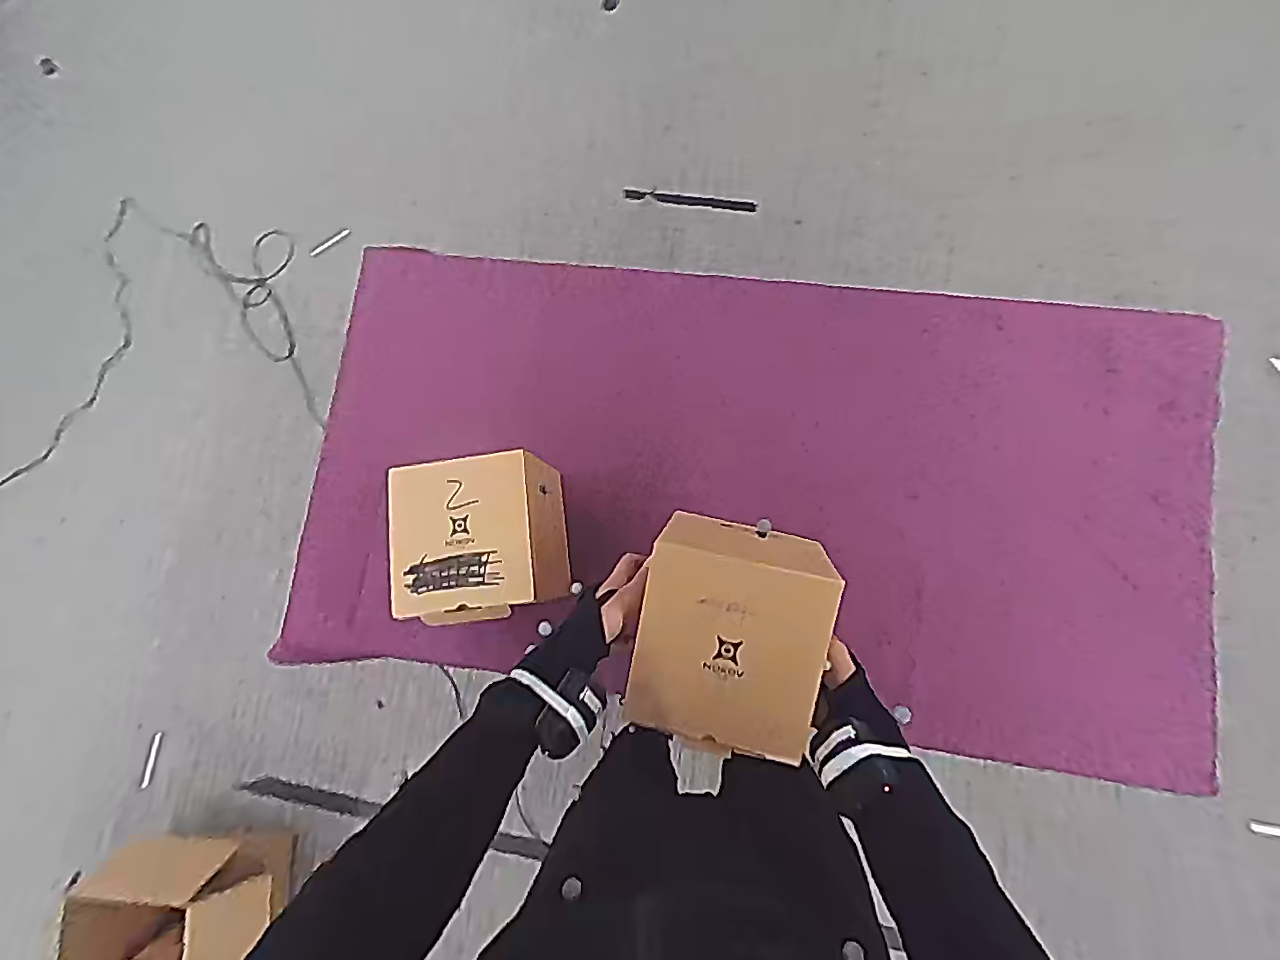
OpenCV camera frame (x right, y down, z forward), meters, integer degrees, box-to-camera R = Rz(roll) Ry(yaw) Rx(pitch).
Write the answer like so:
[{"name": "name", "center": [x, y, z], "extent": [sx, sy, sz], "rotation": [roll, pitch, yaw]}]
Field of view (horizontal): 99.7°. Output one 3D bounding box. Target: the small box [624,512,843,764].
[{"name": "small box", "center": [0.094, 0.144, 0.557], "extent": [0.168, 0.176, 0.179], "rotation": [12, 97, 9]}]
